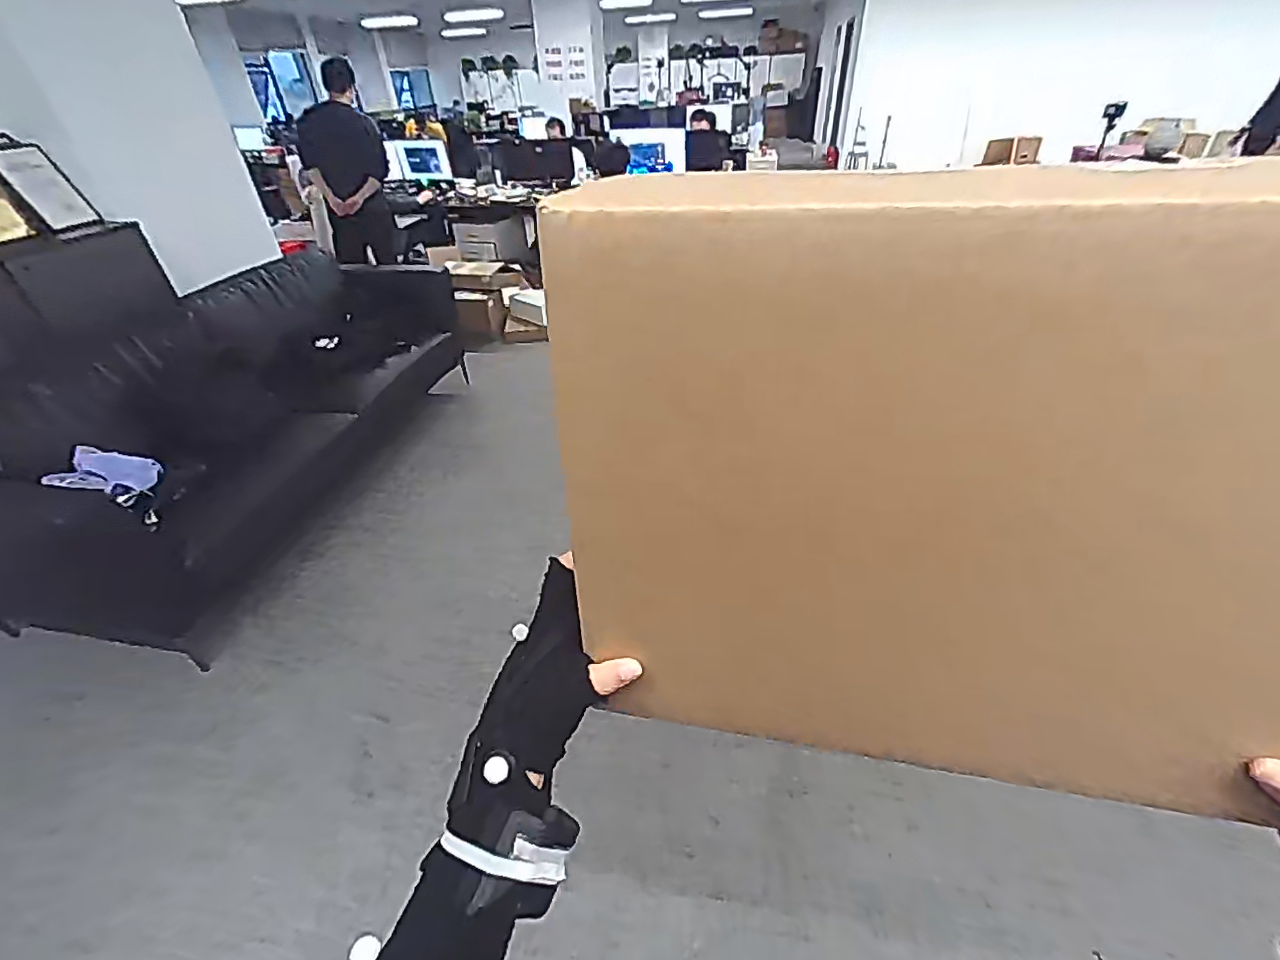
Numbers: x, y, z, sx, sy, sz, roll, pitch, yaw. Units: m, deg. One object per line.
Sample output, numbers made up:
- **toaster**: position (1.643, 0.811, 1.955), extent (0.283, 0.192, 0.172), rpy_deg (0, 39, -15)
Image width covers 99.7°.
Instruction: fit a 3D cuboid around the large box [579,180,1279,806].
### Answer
- **large box**: position (0.193, -0.033, 0.388), extent (0.408, 0.320, 0.320), rpy_deg (6, 31, 10)
